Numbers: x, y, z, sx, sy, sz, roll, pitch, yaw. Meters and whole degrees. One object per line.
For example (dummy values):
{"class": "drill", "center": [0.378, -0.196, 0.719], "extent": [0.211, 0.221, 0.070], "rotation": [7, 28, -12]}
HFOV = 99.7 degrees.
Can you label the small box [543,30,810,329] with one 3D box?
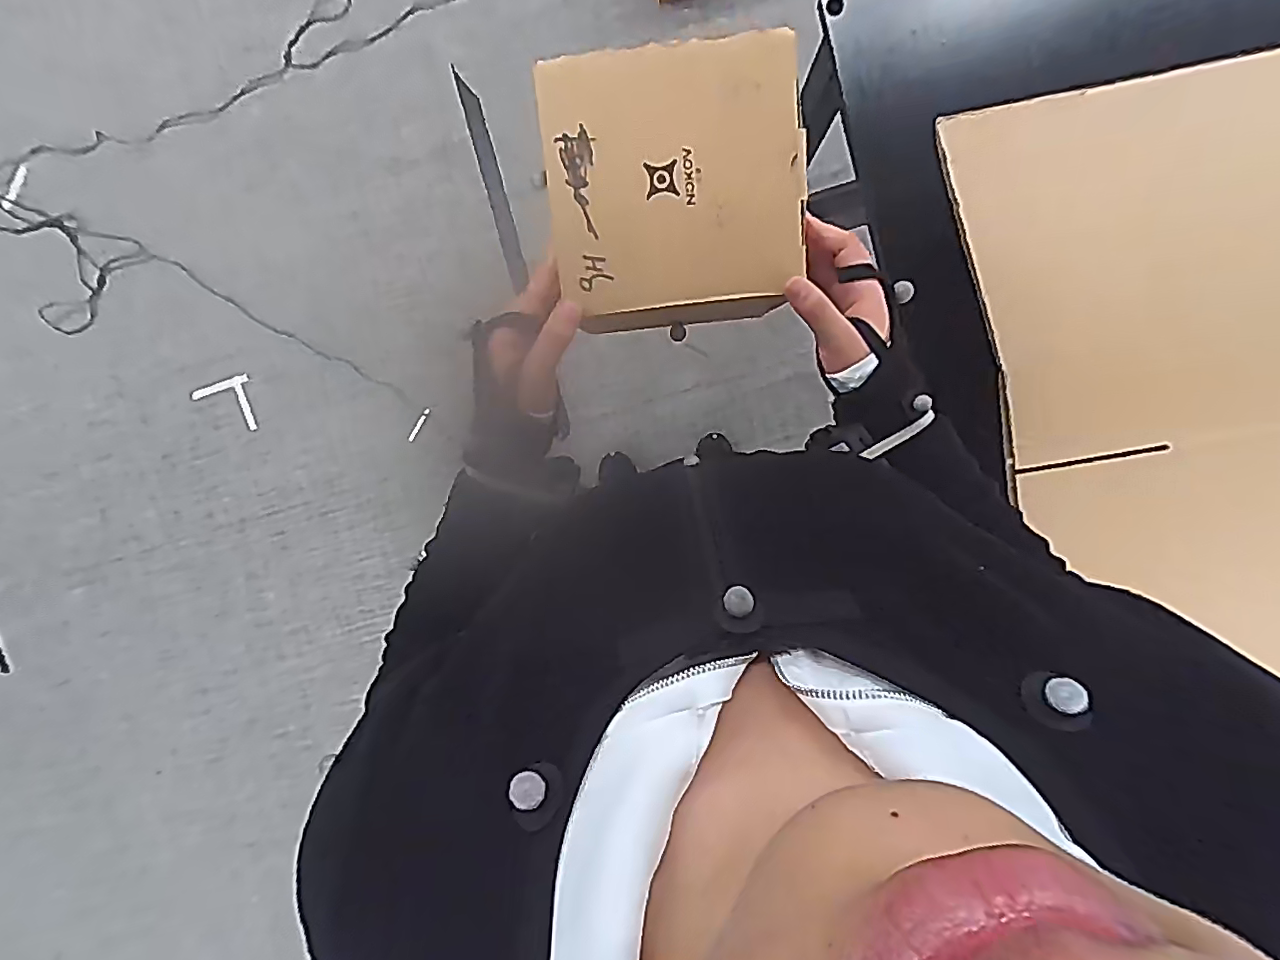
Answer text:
{"class": "small box", "center": [0.027, -0.224, 0.450], "extent": [0.179, 0.176, 0.168], "rotation": [-6, 100, 1]}
